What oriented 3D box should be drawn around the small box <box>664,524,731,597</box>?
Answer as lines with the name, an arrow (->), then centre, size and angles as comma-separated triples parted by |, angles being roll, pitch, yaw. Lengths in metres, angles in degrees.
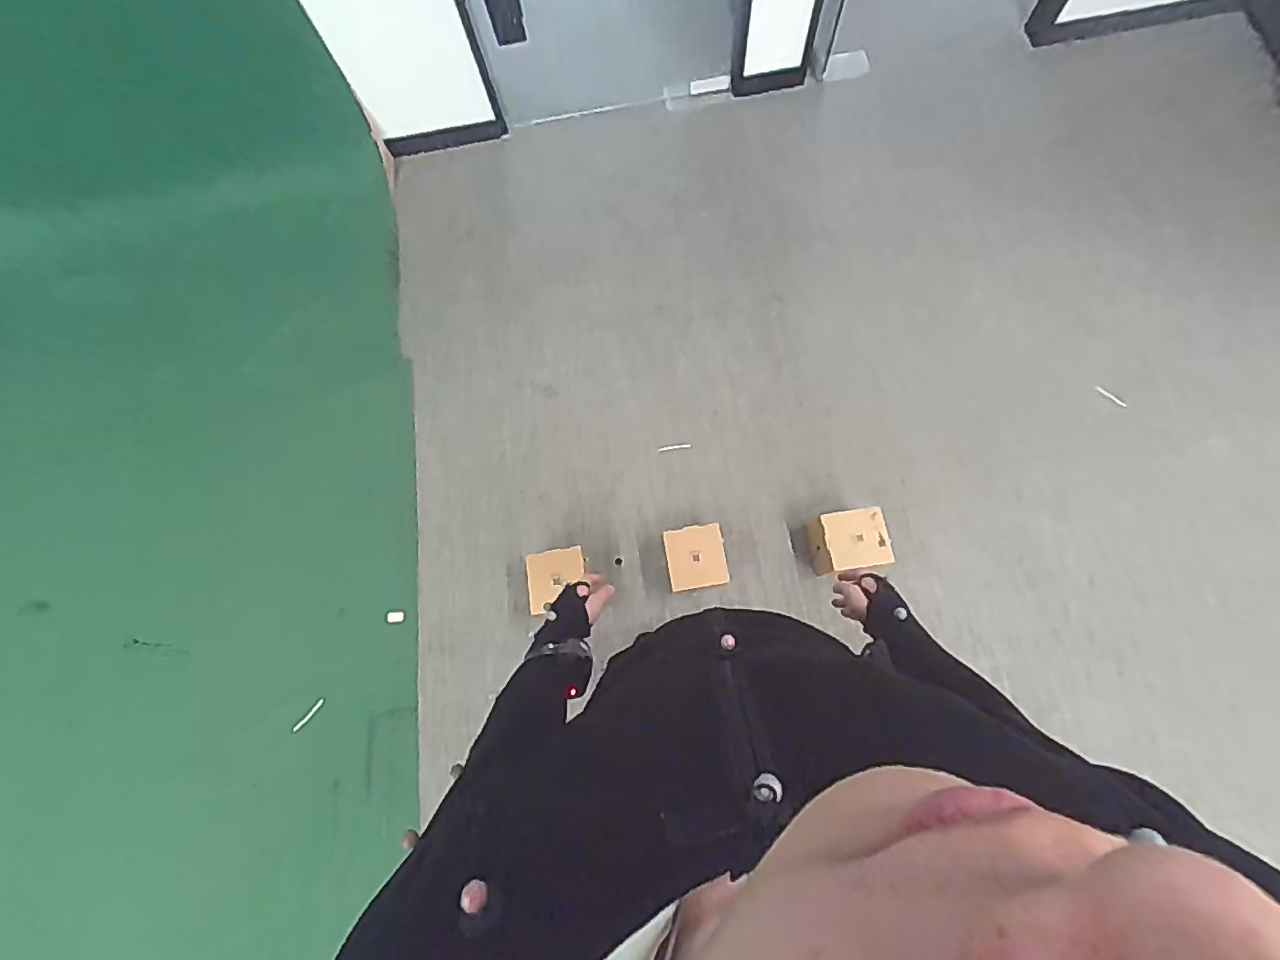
small box -> 0.162, 0.241, 1.584 | 0.168, 0.176, 0.179 | -10, 74, 1

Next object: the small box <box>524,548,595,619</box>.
small box -> -0.232, 0.309, 1.589 | 0.168, 0.176, 0.179 | -10, 73, 1

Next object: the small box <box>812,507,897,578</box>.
small box -> 0.611, 0.187, 1.570 | 0.179, 0.176, 0.168 | -9, 74, 2
